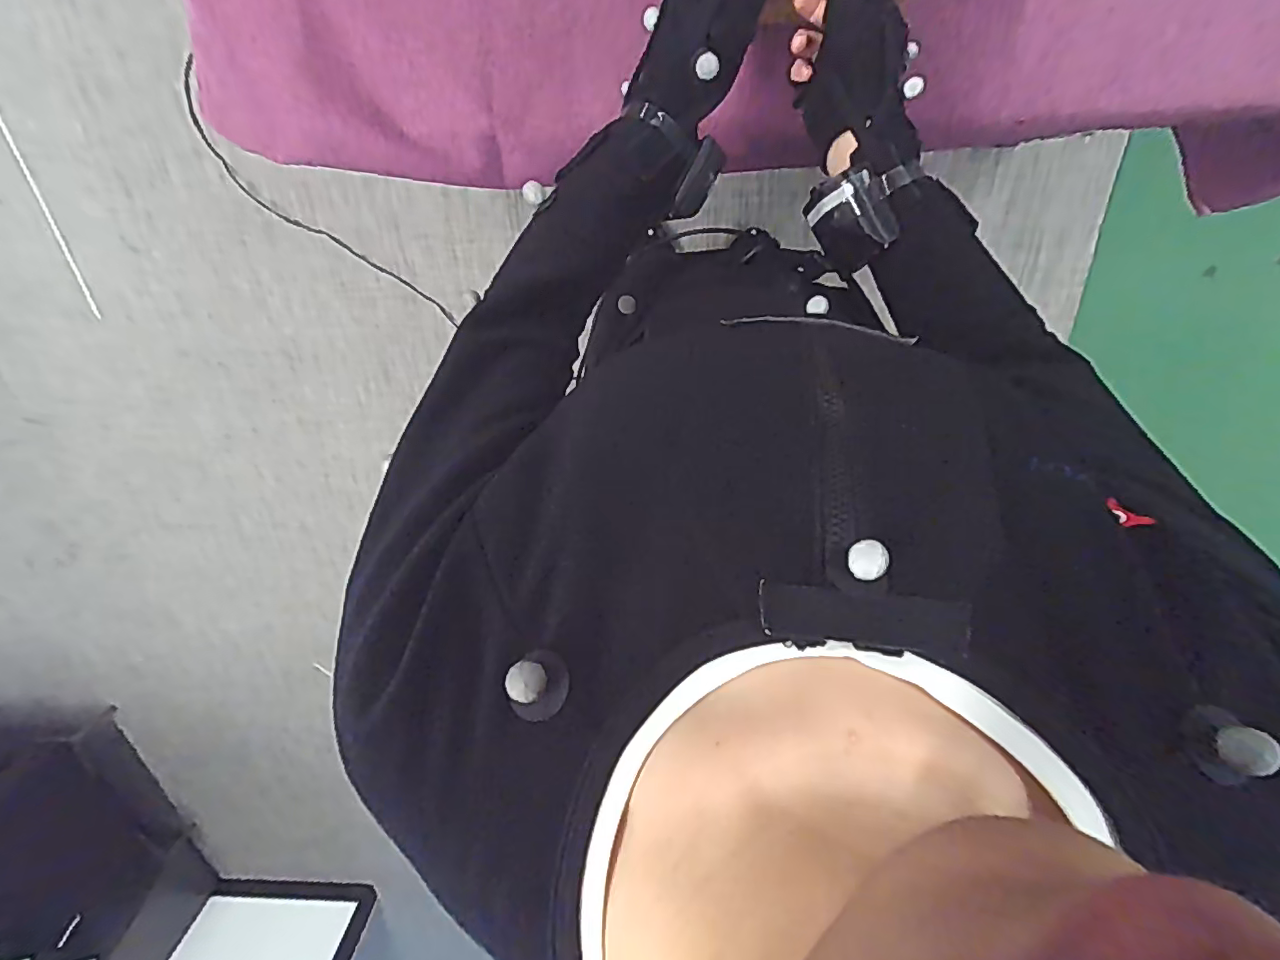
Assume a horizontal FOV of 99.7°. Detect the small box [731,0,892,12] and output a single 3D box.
[{"bbox_3d":[0.153,-0.488,0.411,0.168,0.176,0.179,0,116,4],"label":"small box"}]
